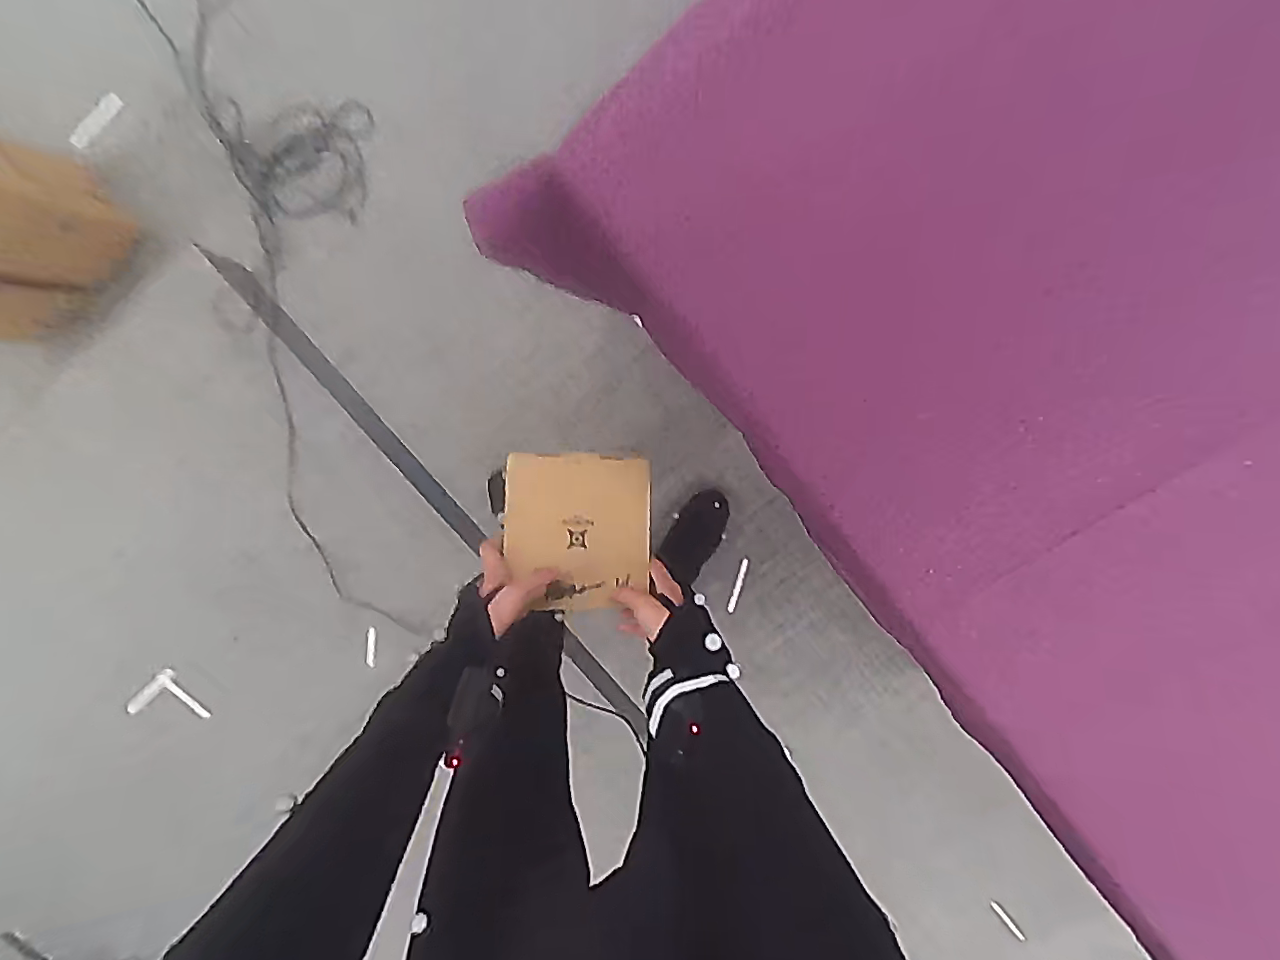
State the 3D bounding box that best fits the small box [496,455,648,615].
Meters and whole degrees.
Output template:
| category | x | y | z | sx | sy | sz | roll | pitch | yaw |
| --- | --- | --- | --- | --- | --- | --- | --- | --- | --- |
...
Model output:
| category | x | y | z | sx | sy | sz | roll | pitch | yaw |
| --- | --- | --- | --- | --- | --- | --- | --- | --- | --- |
| small box | -0.086 | 0.073 | 0.681 | 0.168 | 0.176 | 0.179 | 2 | 82 | -9 |
